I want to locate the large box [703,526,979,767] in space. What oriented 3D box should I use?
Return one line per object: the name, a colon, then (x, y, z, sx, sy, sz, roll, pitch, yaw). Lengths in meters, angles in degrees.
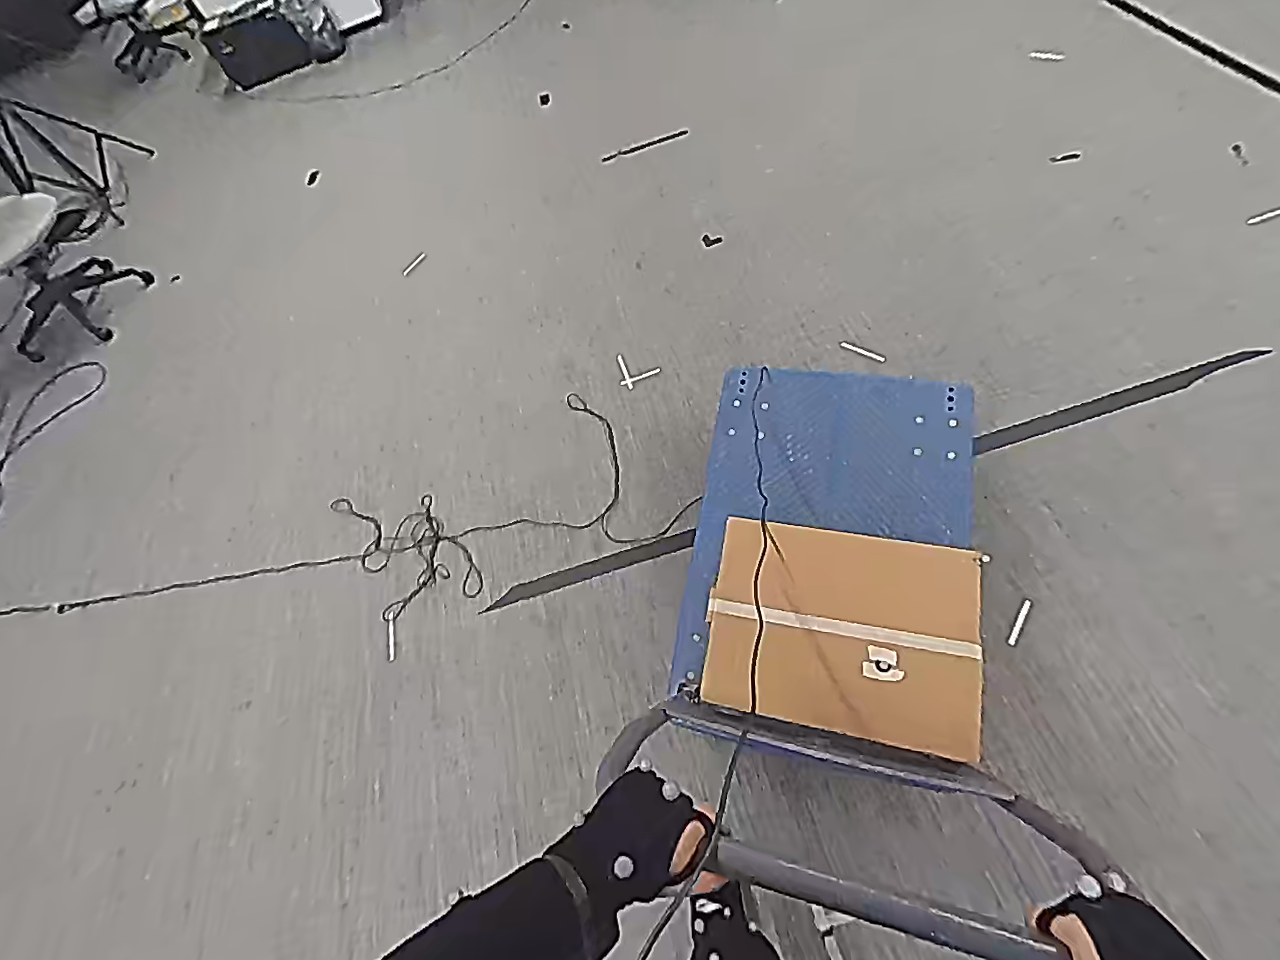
large box: (0.343, 0.296, 0.994, 0.408, 0.320, 0.320, 8, 73, 14)
